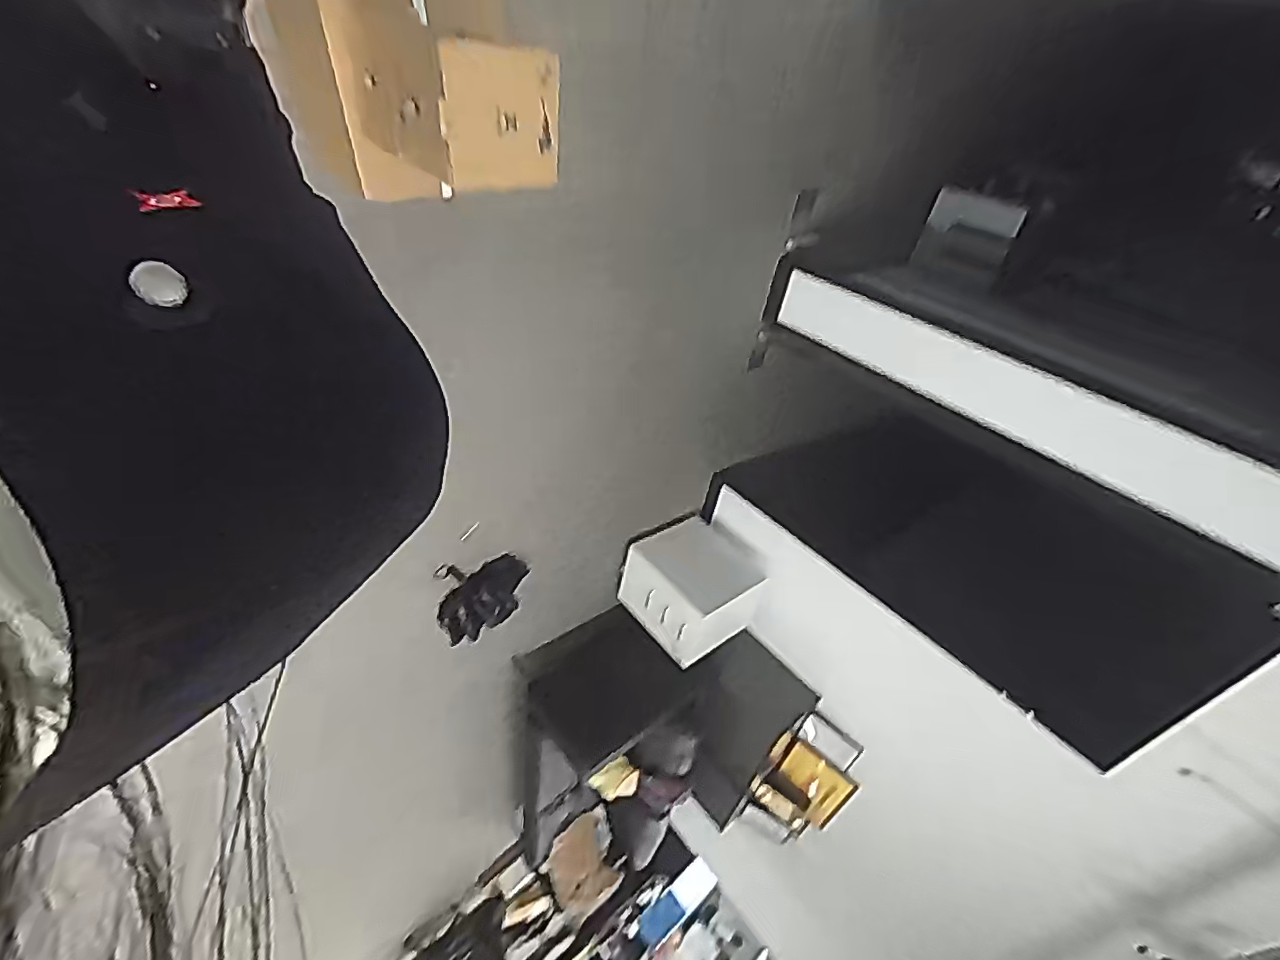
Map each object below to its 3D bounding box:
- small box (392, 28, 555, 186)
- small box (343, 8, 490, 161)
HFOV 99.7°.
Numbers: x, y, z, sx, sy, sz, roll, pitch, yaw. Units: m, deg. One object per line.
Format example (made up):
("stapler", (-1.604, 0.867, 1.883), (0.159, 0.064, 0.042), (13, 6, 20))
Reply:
("small box", (-0.244, -0.540, 0.789), (0.179, 0.176, 0.168), (-23, 139, -34))
("small box", (-0.354, -0.628, 0.871), (0.168, 0.176, 0.179), (-22, 138, -35))
